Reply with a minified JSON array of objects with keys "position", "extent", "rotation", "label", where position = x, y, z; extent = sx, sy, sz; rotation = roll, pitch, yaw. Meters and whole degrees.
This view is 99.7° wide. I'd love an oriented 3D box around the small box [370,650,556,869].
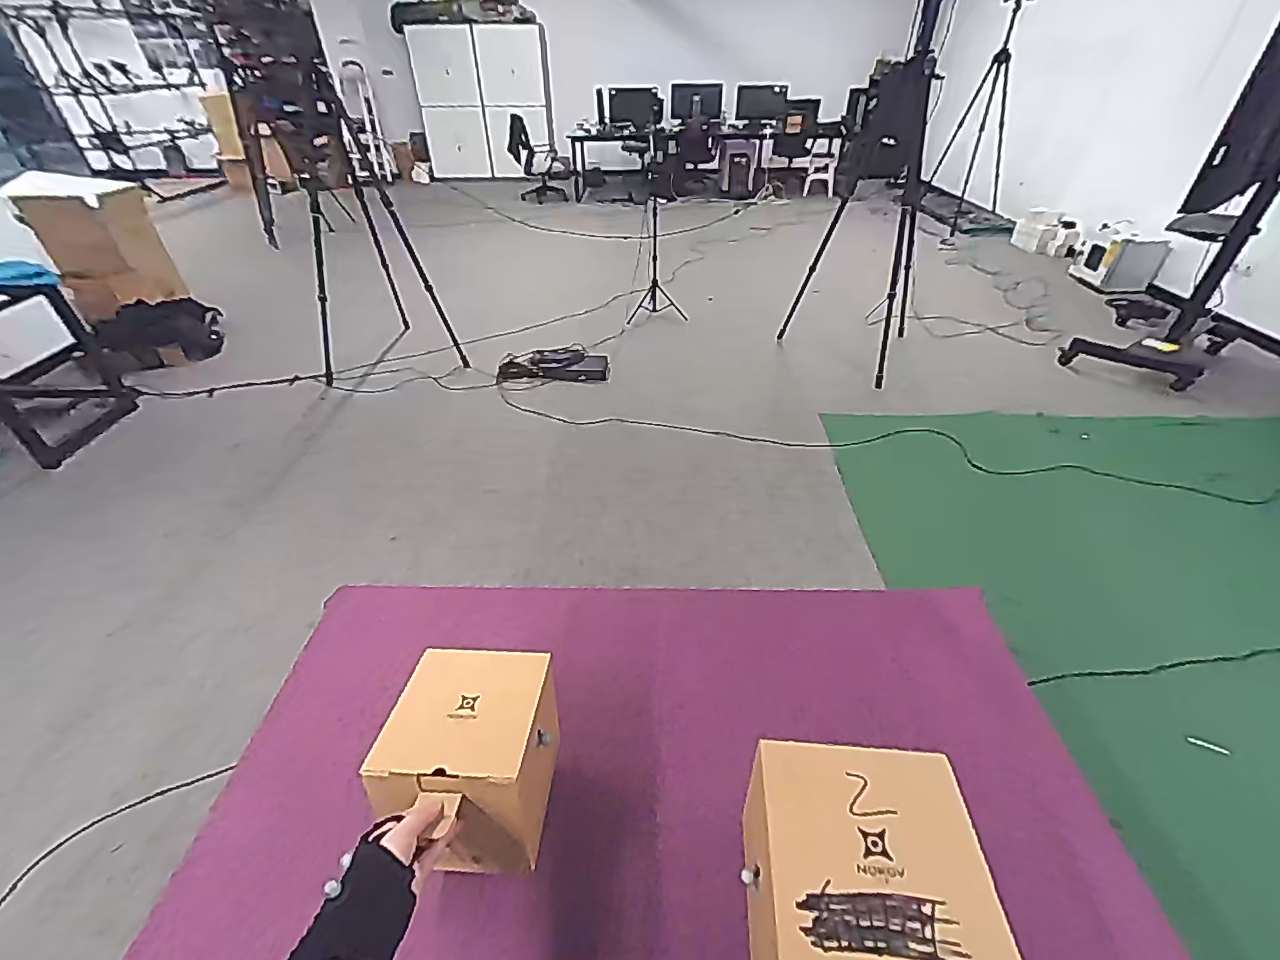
[{"position":[-0.202,0.340,0.675],"extent":[0.168,0.176,0.179],"rotation":[1,27,3],"label":"small box"}]
